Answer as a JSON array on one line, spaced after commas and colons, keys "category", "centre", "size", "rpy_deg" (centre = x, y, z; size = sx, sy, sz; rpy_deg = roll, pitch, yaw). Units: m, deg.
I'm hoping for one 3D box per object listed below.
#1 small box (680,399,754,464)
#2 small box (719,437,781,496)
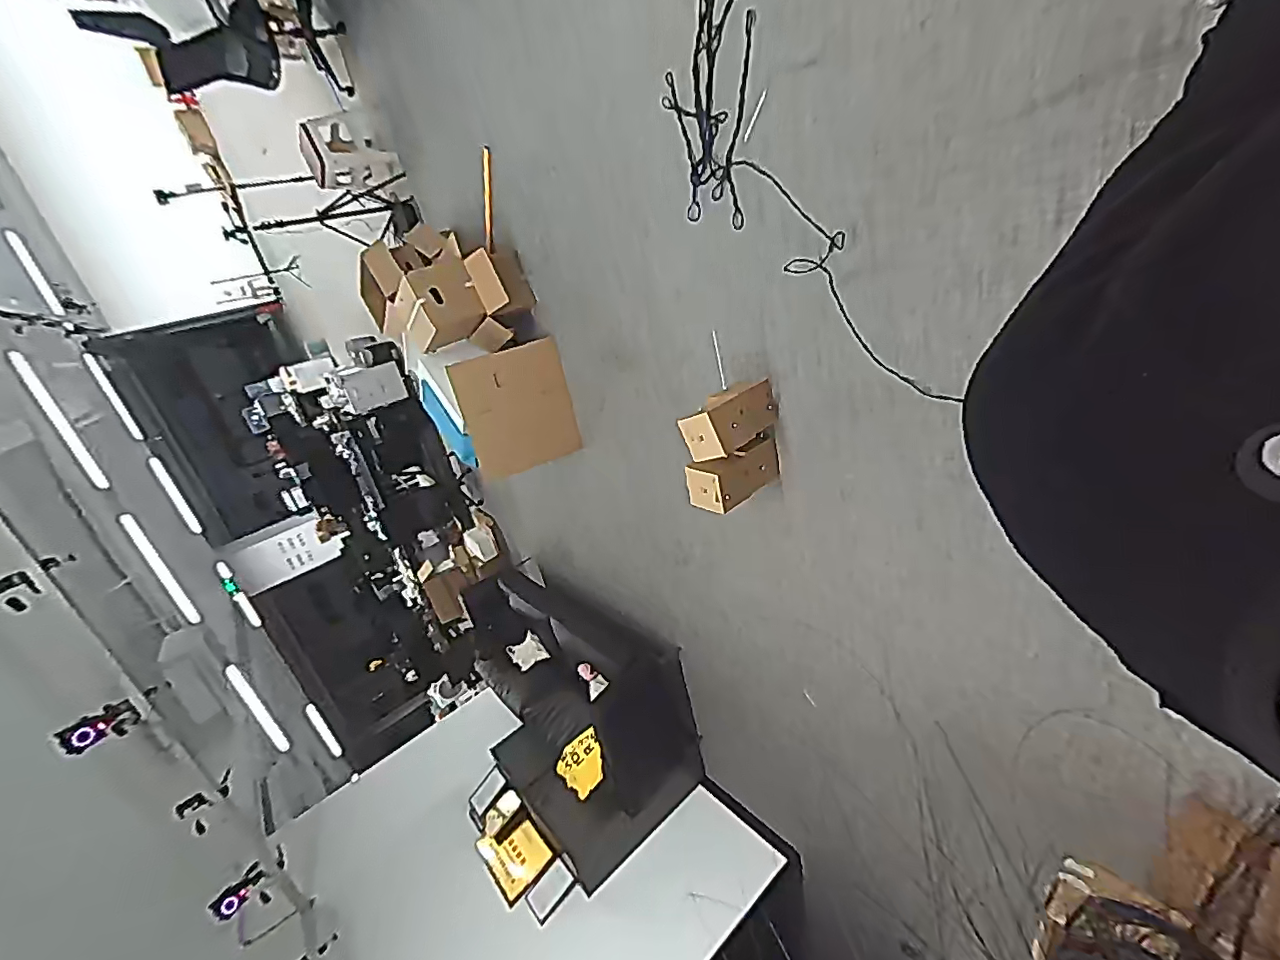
[{"category": "small box", "centre": [0.282, -0.173, 1.925], "size": [0.179, 0.176, 0.168], "rpy_deg": [-10, 107, 58]}, {"category": "small box", "centre": [0.430, -0.062, 2.116], "size": [0.168, 0.176, 0.179], "rpy_deg": [17, 129, 50]}]
